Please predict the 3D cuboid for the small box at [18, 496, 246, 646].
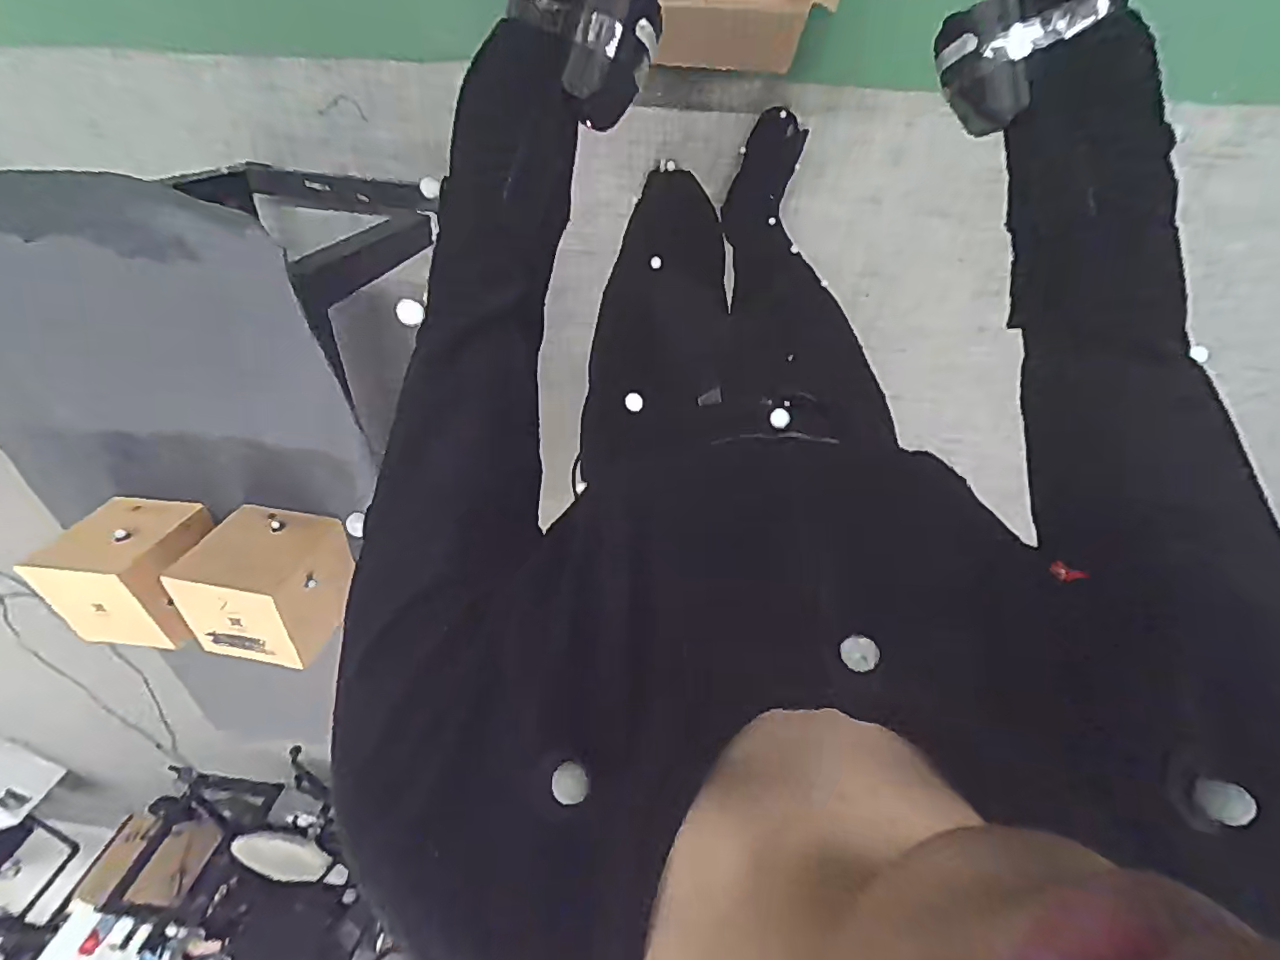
[{"bbox_3d":[-0.802,0.143,0.880,0.168,0.176,0.179,4,128,5],"label":"small box"}]
